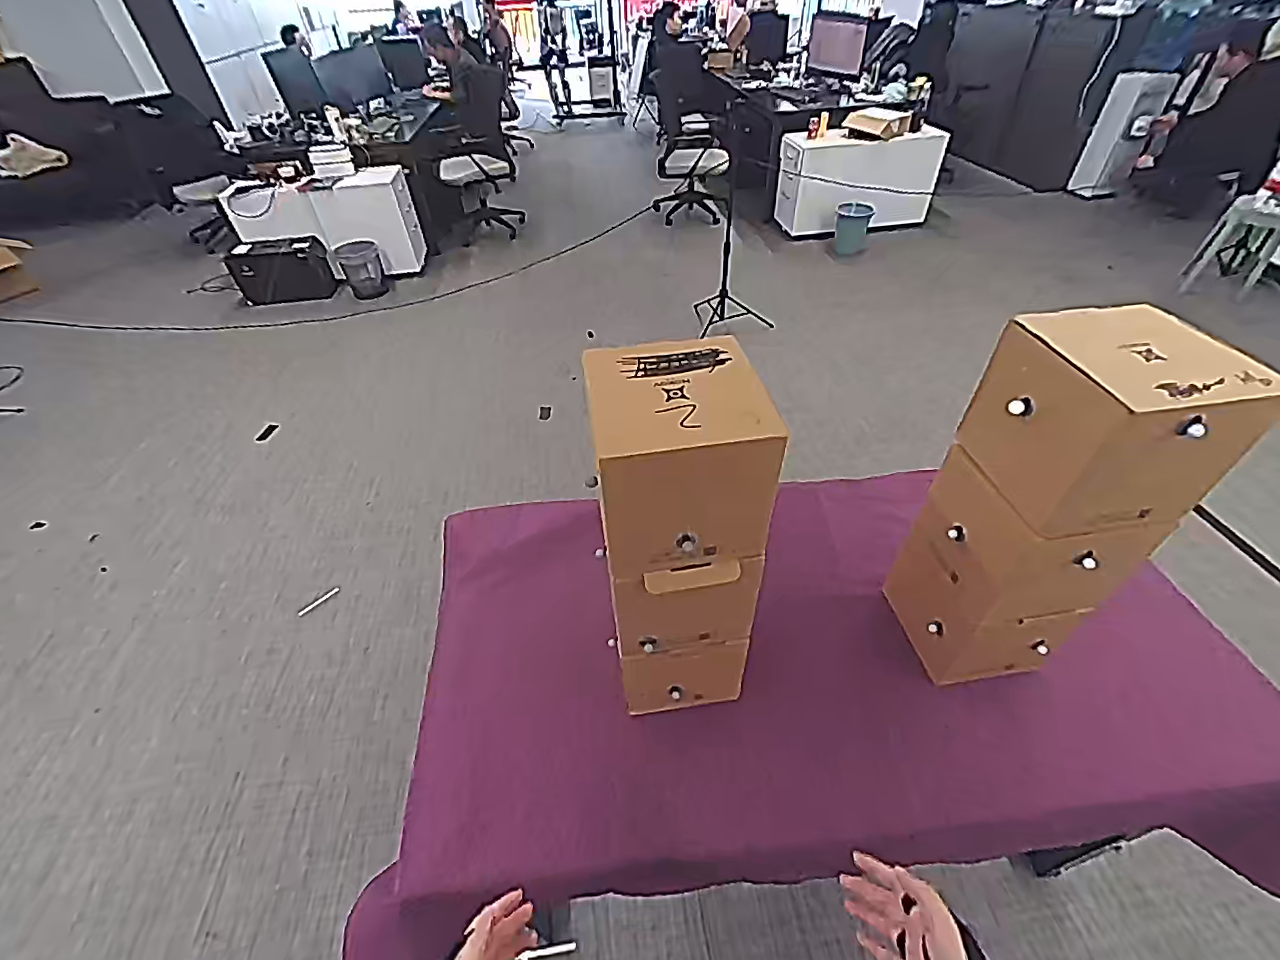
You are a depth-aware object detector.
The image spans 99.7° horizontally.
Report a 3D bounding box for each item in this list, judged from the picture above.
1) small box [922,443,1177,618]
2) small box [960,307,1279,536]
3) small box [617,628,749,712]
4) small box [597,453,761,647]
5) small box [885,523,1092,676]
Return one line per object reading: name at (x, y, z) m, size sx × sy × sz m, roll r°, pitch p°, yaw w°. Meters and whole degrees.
small box at (0.490, 0.059, 0.689) m, size 0.179 × 0.176 × 0.168 m, roll -7°, pitch 45°, yaw -5°
small box at (0.487, -0.064, 0.580) m, size 0.168 × 0.176 × 0.179 m, roll -7°, pitch 44°, yaw -4°
small box at (0.049, 0.212, 0.795) m, size 0.168 × 0.176 × 0.179 m, roll -7°, pitch 45°, yaw -5°
small box at (0.042, 0.093, 0.682) m, size 0.168 × 0.176 × 0.179 m, roll -8°, pitch 44°, yaw -6°
small box at (0.497, 0.175, 0.805) m, size 0.168 × 0.176 × 0.179 m, roll -7°, pitch 43°, yaw -4°
